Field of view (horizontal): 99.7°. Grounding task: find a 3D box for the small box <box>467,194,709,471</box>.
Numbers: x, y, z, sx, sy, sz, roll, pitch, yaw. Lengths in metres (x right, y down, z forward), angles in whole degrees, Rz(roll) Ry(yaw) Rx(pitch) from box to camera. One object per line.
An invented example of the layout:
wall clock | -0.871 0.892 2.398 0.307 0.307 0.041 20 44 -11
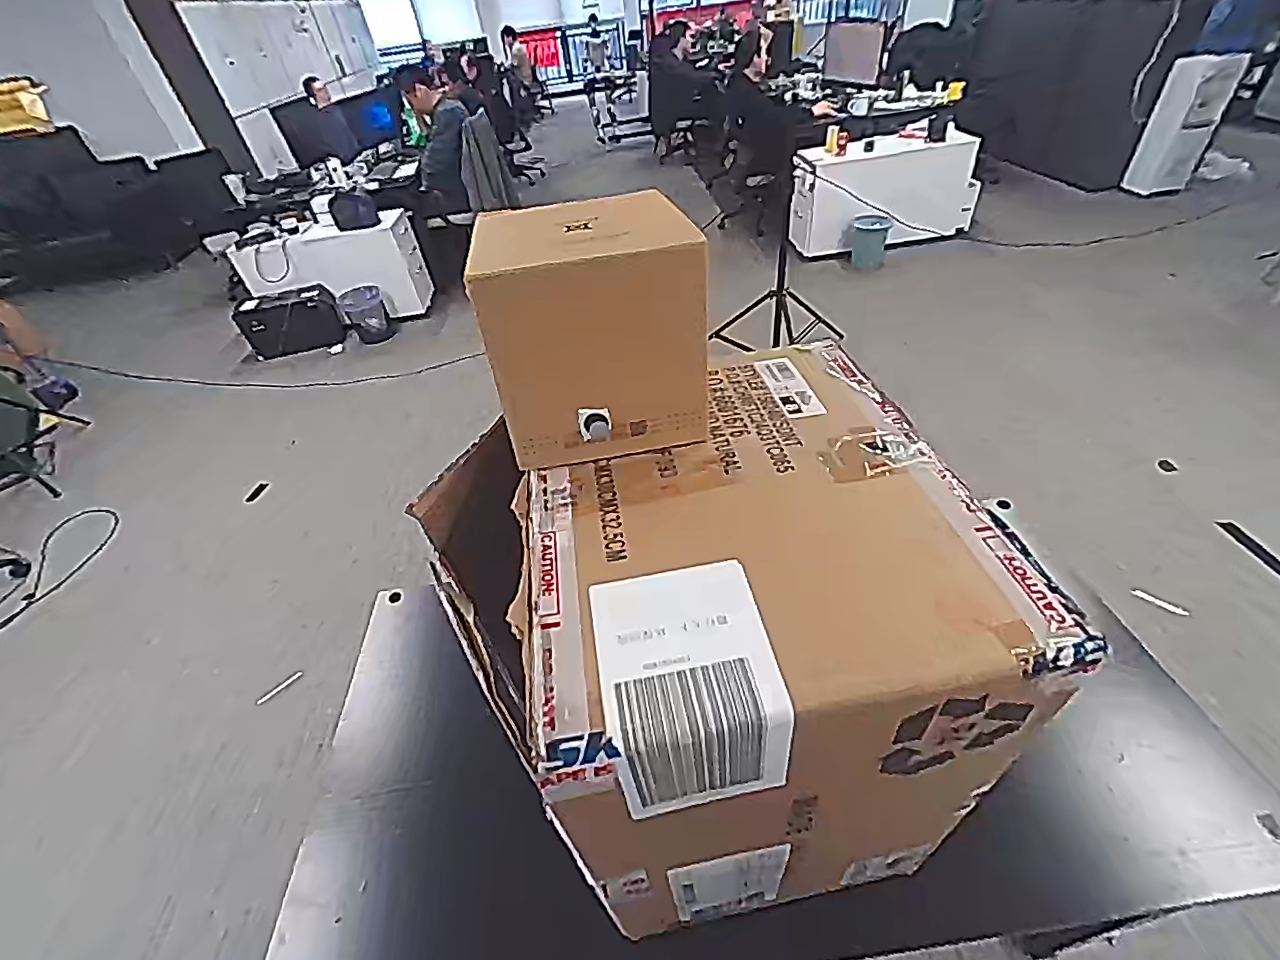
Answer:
small box | -0.041 -0.133 0.476 0.168 0.176 0.179 -11 40 -5
